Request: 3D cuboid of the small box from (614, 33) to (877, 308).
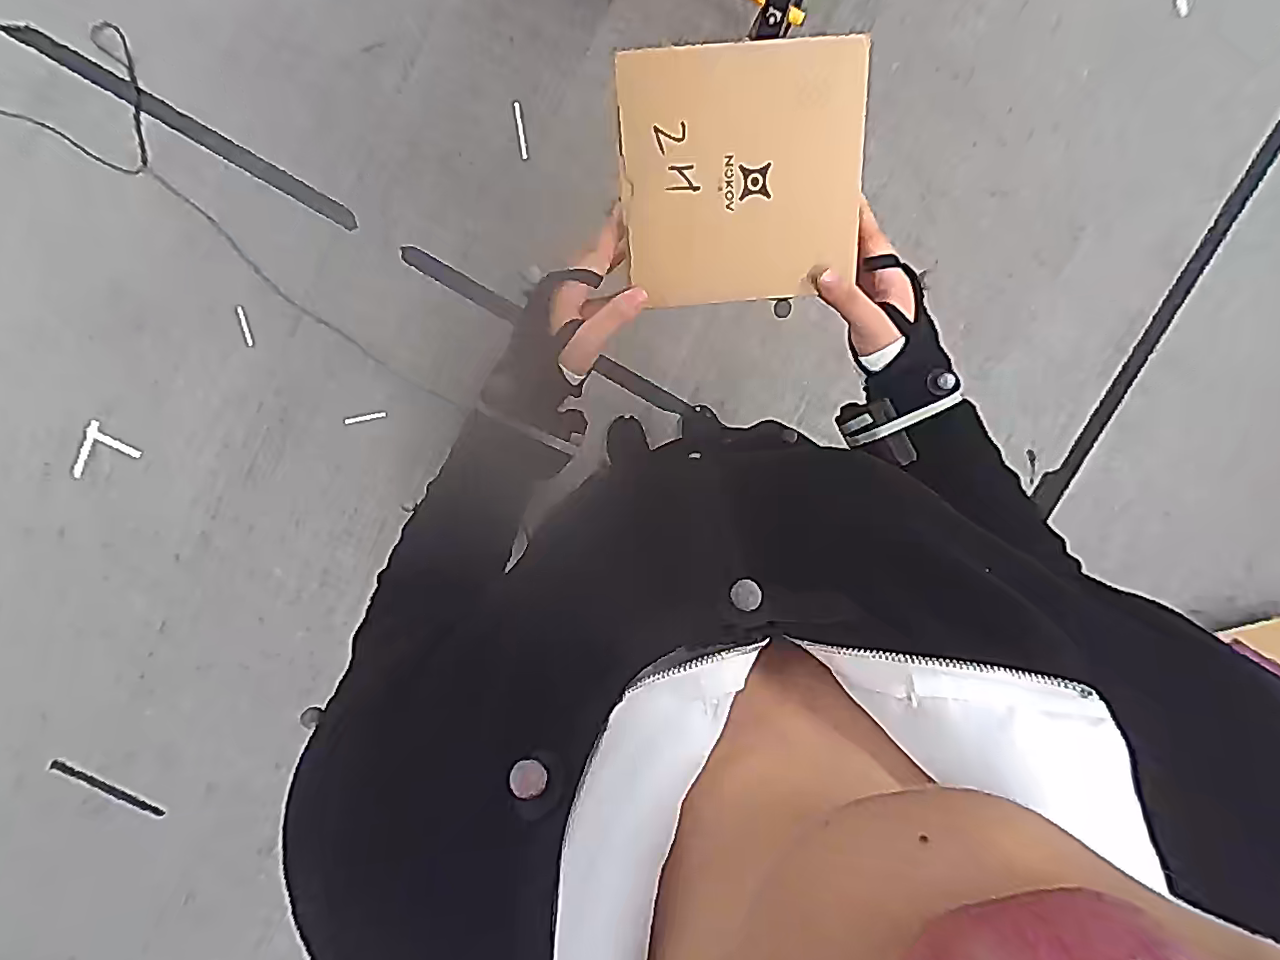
[{"bbox_3d":[0.071,-0.241,0.456,0.179,0.176,0.168,-5,110,-1],"label":"small box"}]
